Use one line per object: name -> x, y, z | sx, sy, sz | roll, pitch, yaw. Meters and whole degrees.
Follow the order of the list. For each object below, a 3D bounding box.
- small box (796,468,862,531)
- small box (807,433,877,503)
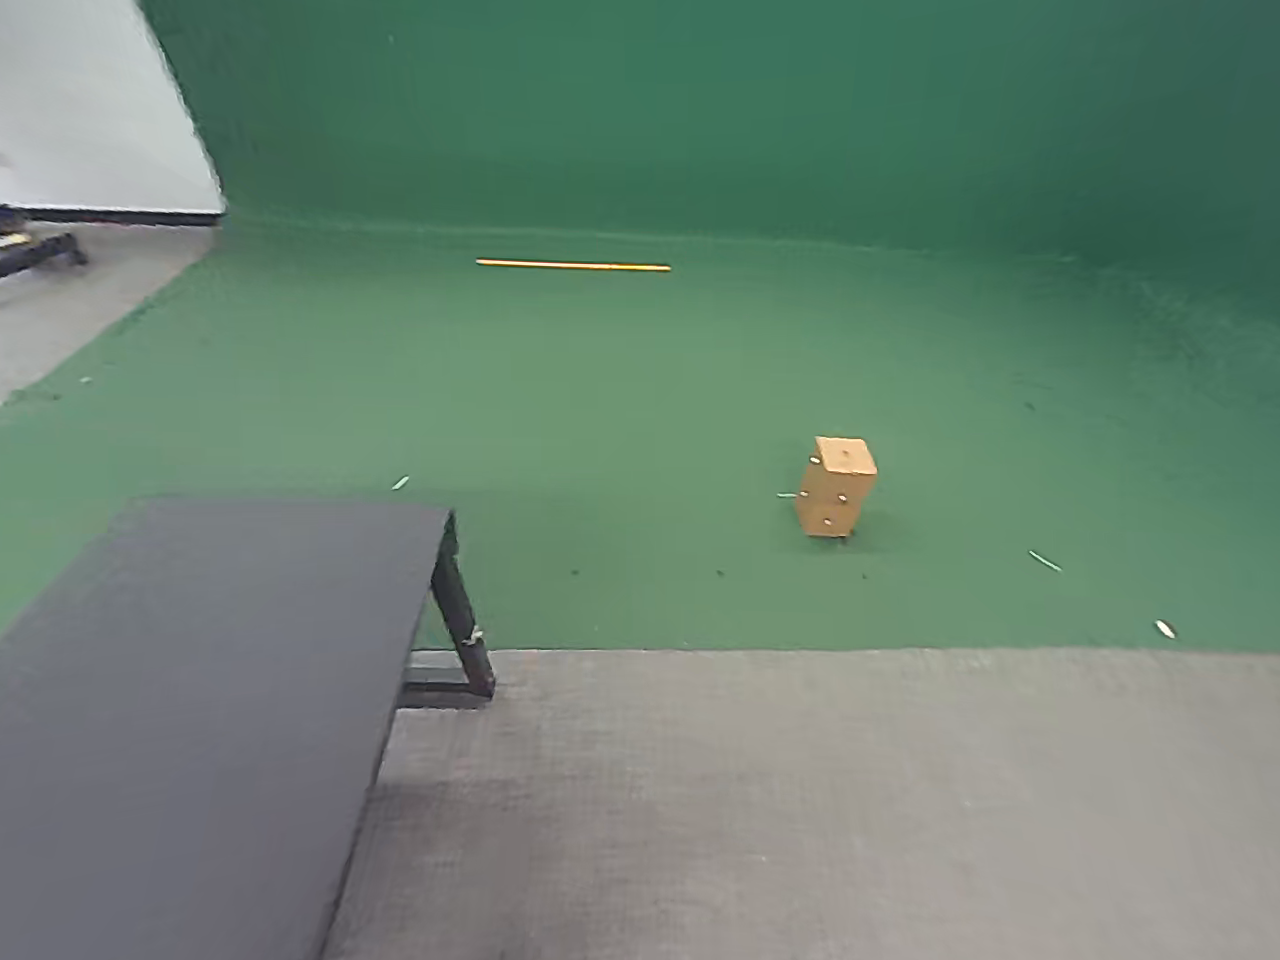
small box -> 0.688, 0.075, 1.986 | 0.168, 0.176, 0.179 | 0, 44, -2
small box -> 0.689, -0.043, 1.869 | 0.168, 0.176, 0.179 | 2, 45, 0
